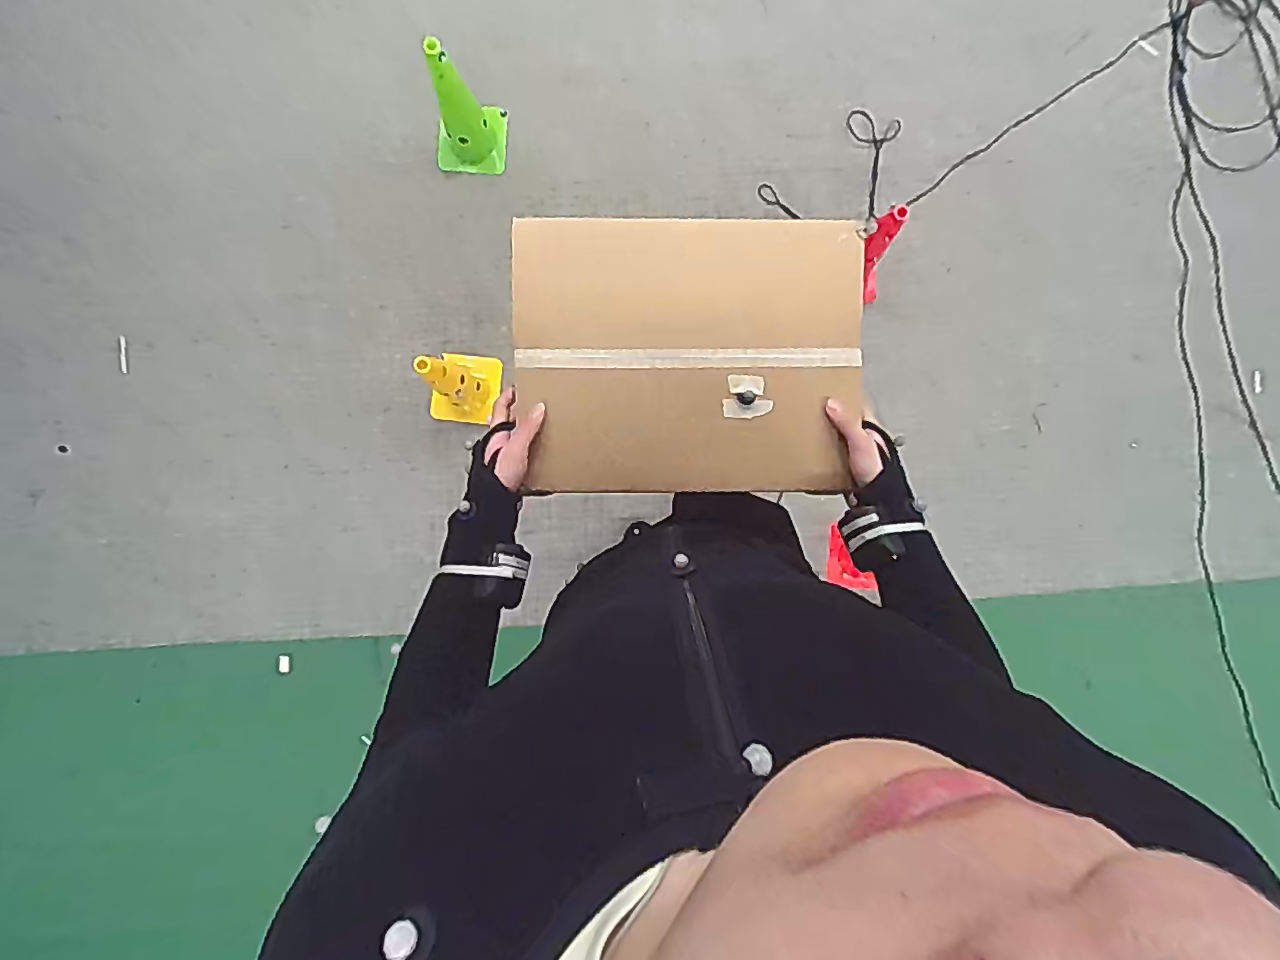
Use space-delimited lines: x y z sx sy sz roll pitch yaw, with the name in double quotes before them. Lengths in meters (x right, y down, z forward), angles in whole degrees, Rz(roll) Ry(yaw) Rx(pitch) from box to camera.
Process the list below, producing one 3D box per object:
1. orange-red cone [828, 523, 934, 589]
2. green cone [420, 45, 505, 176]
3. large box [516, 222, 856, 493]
"orange-red cone" 0.683 0.234 1.471 0.199 0.360 0.198 4 91 -3
"green cone" -0.506 -1.013 1.449 0.200 0.368 0.202 2 91 -1
"large box" 0.052 -0.155 0.787 0.408 0.320 0.320 -1 95 -2
